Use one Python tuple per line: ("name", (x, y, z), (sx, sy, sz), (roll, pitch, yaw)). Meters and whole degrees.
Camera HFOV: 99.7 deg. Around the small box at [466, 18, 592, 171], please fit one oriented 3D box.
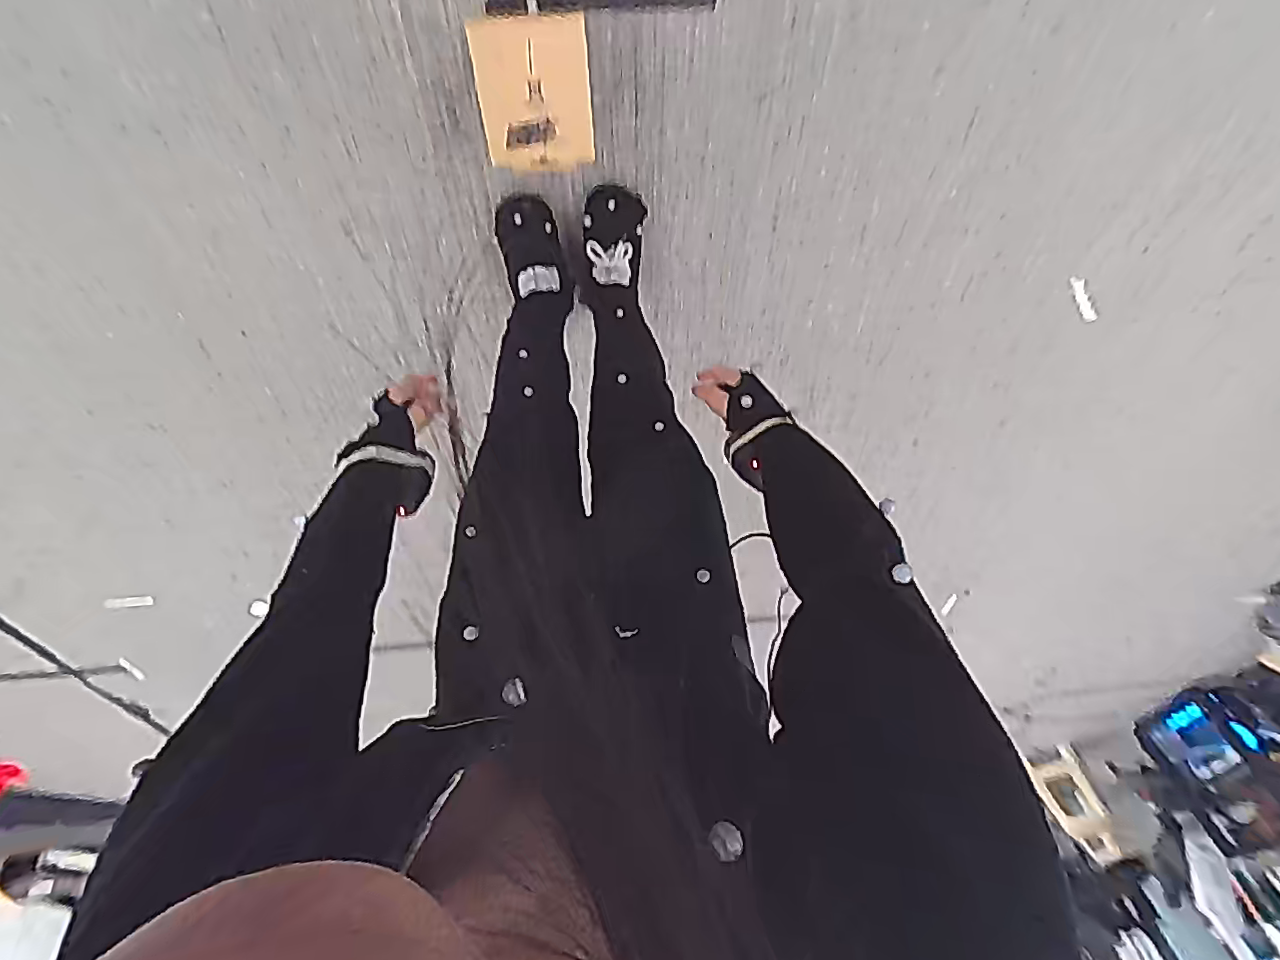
("small box", (-0.164, -0.614, 0.860), (0.168, 0.176, 0.179), (-5, 133, -3))
